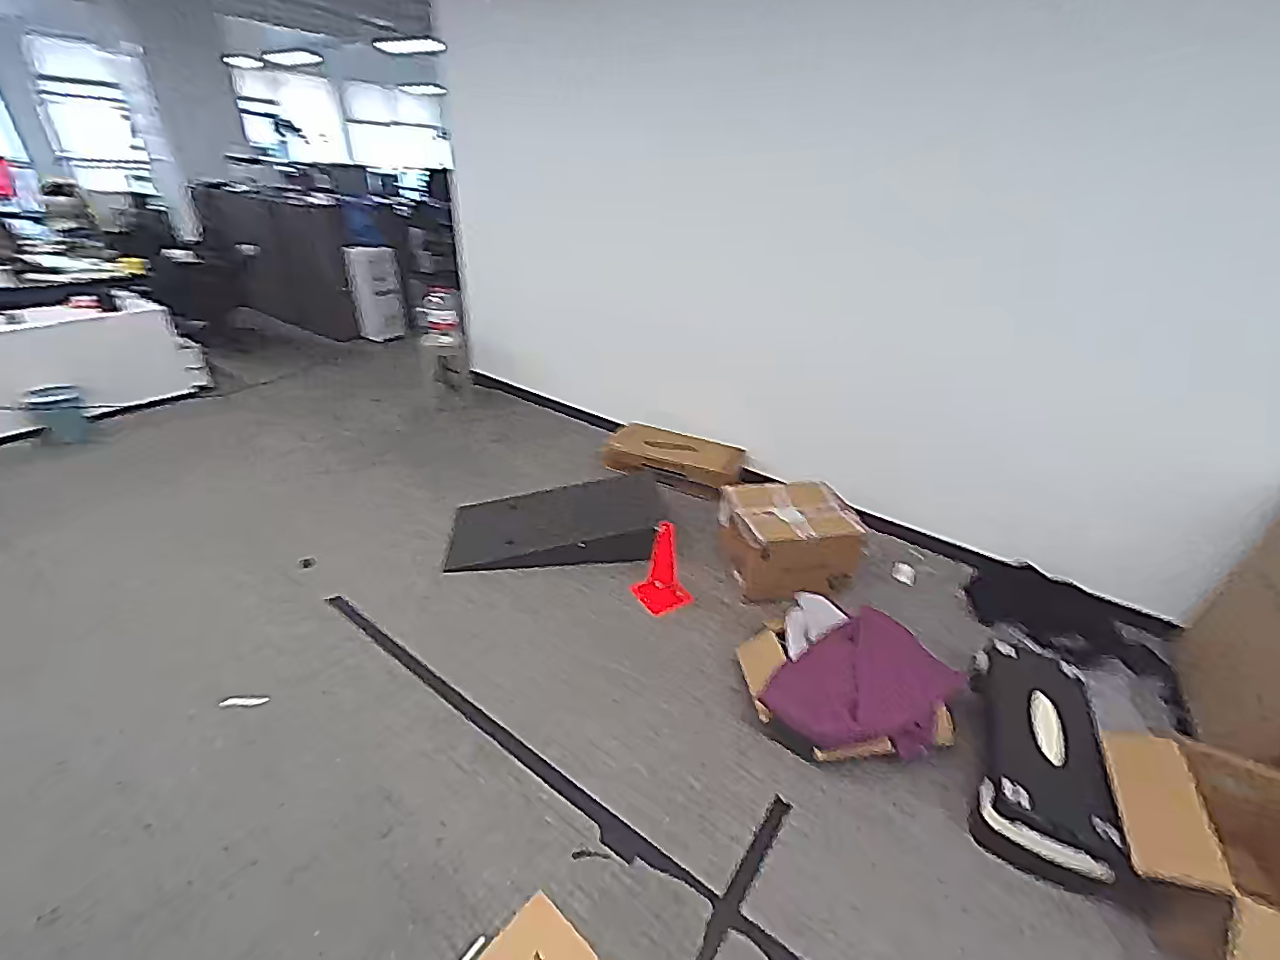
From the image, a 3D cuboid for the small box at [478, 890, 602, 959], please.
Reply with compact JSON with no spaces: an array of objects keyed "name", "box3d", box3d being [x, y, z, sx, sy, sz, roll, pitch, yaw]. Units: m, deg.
[{"name":"small box","box3d":[-0.188,0.924,0.992,0.168,0.176,0.179,26,38,33]}]
